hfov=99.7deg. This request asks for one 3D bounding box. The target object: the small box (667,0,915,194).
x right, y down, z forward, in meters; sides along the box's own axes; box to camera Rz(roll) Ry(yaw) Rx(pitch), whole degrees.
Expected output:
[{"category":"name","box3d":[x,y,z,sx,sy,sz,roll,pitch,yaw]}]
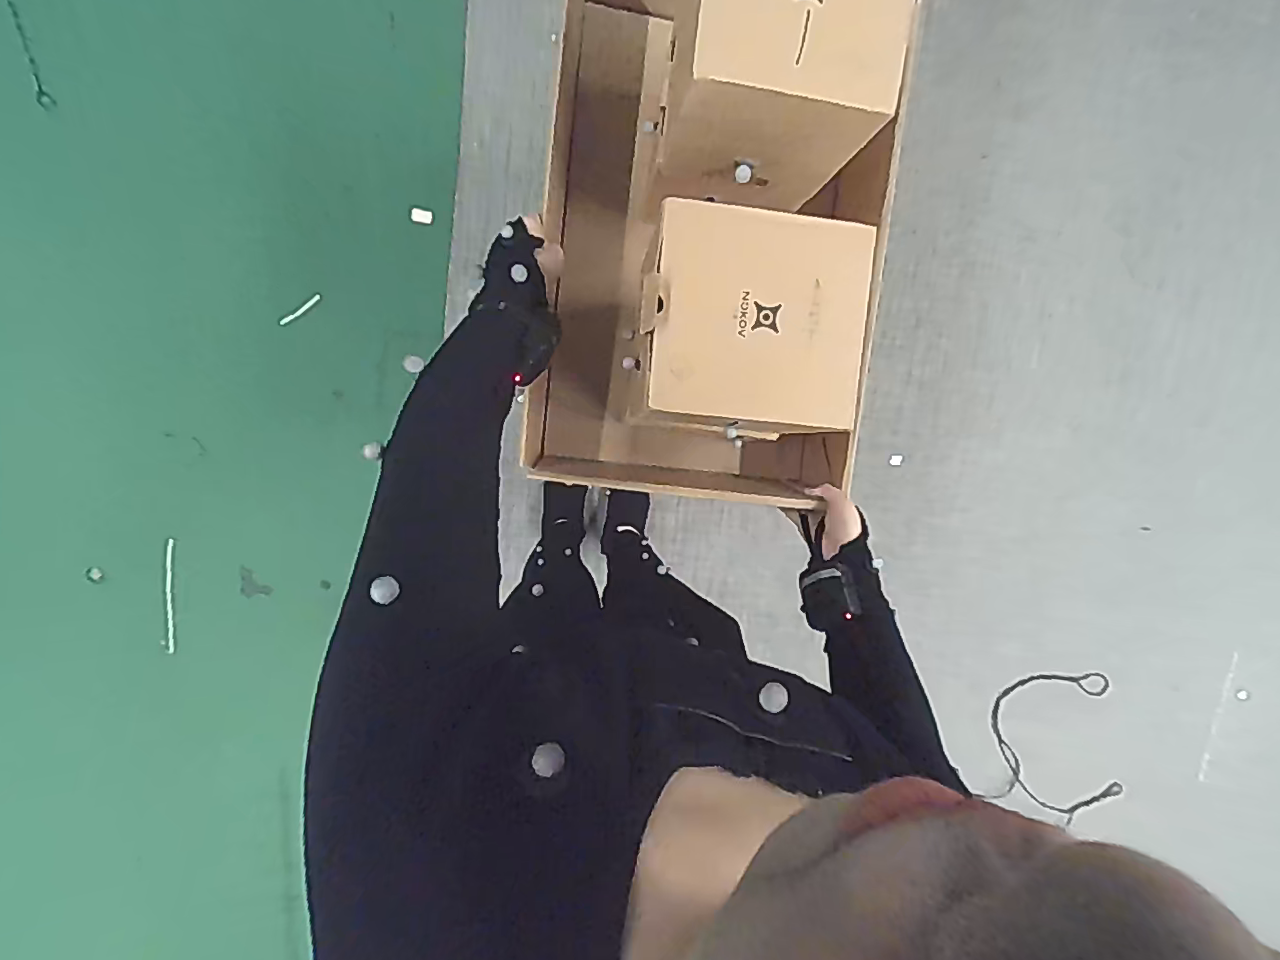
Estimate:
[{"category":"small box","box3d":[0.123,-0.392,0.485,0.168,0.176,0.179,7,97,-6]}]

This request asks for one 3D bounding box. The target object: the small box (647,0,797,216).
[{"category":"small box","box3d":[0.108,-0.414,0.647,0.179,0.176,0.168,8,96,-6]}]

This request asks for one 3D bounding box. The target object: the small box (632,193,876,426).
[{"category":"small box","box3d":[0.089,-0.141,0.510,0.179,0.176,0.168,5,95,-6]}]
